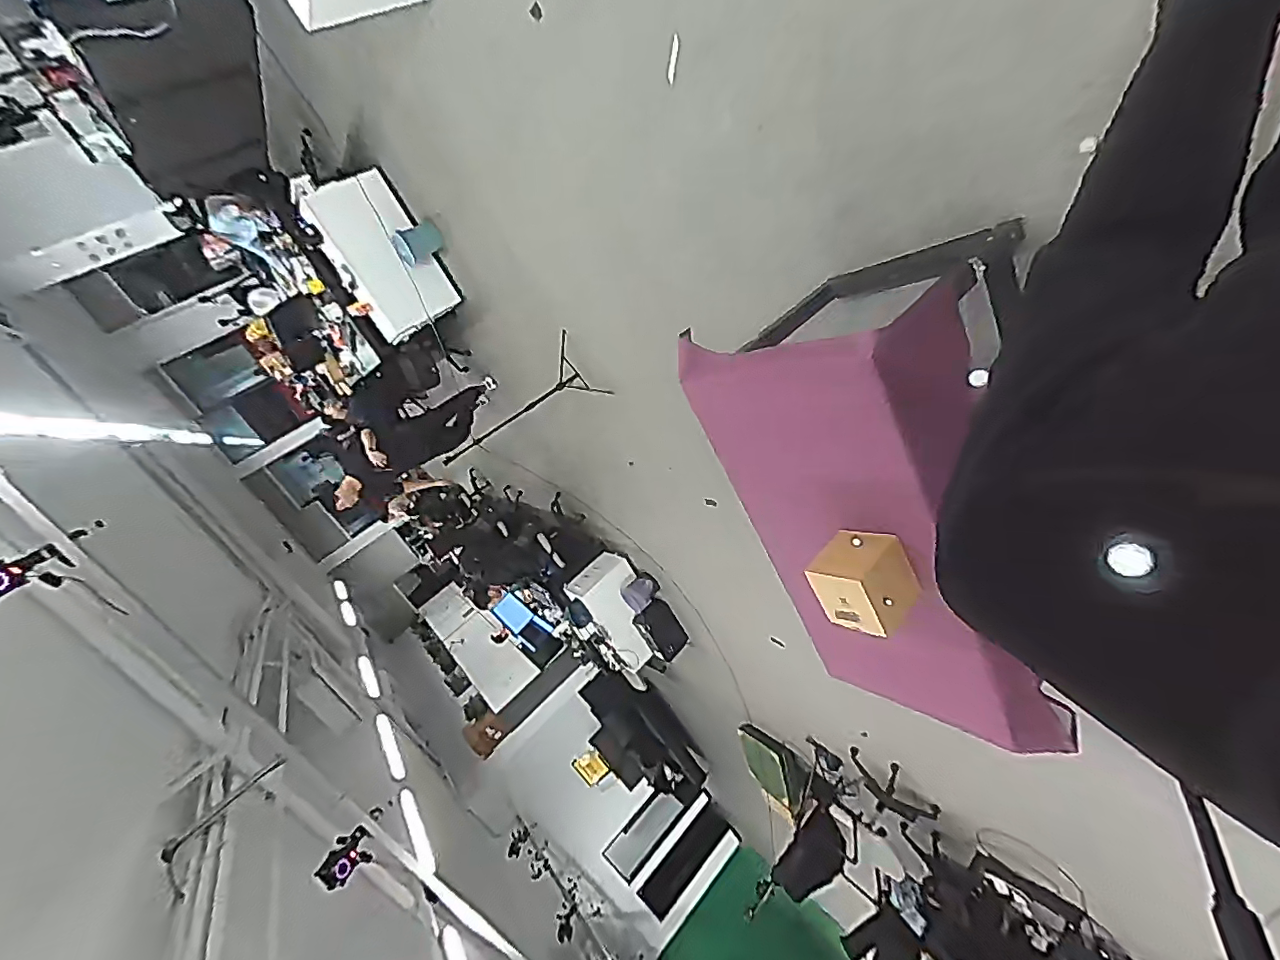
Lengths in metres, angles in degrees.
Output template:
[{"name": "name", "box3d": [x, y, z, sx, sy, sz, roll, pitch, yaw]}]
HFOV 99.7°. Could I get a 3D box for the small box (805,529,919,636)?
[{"name": "small box", "box3d": [0.547, 0.245, 1.324, 0.179, 0.176, 0.168, 58, 155, -17]}]
